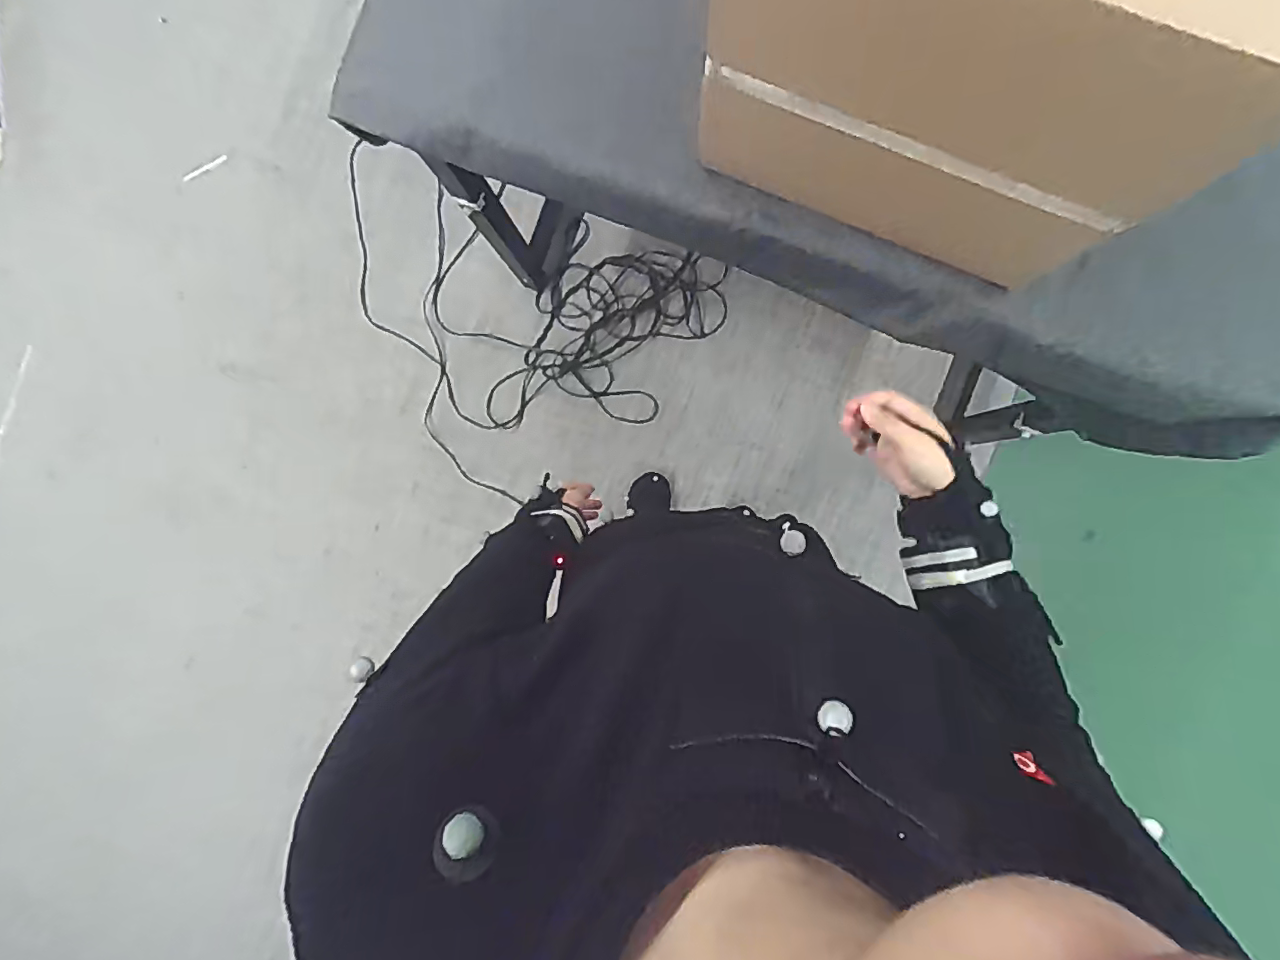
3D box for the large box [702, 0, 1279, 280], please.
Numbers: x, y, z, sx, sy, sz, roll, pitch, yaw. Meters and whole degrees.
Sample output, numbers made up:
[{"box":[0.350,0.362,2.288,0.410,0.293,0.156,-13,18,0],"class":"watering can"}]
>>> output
[{"box":[0.304,-0.440,0.486,0.408,0.320,0.320,23,89,4],"class":"large box"}]
